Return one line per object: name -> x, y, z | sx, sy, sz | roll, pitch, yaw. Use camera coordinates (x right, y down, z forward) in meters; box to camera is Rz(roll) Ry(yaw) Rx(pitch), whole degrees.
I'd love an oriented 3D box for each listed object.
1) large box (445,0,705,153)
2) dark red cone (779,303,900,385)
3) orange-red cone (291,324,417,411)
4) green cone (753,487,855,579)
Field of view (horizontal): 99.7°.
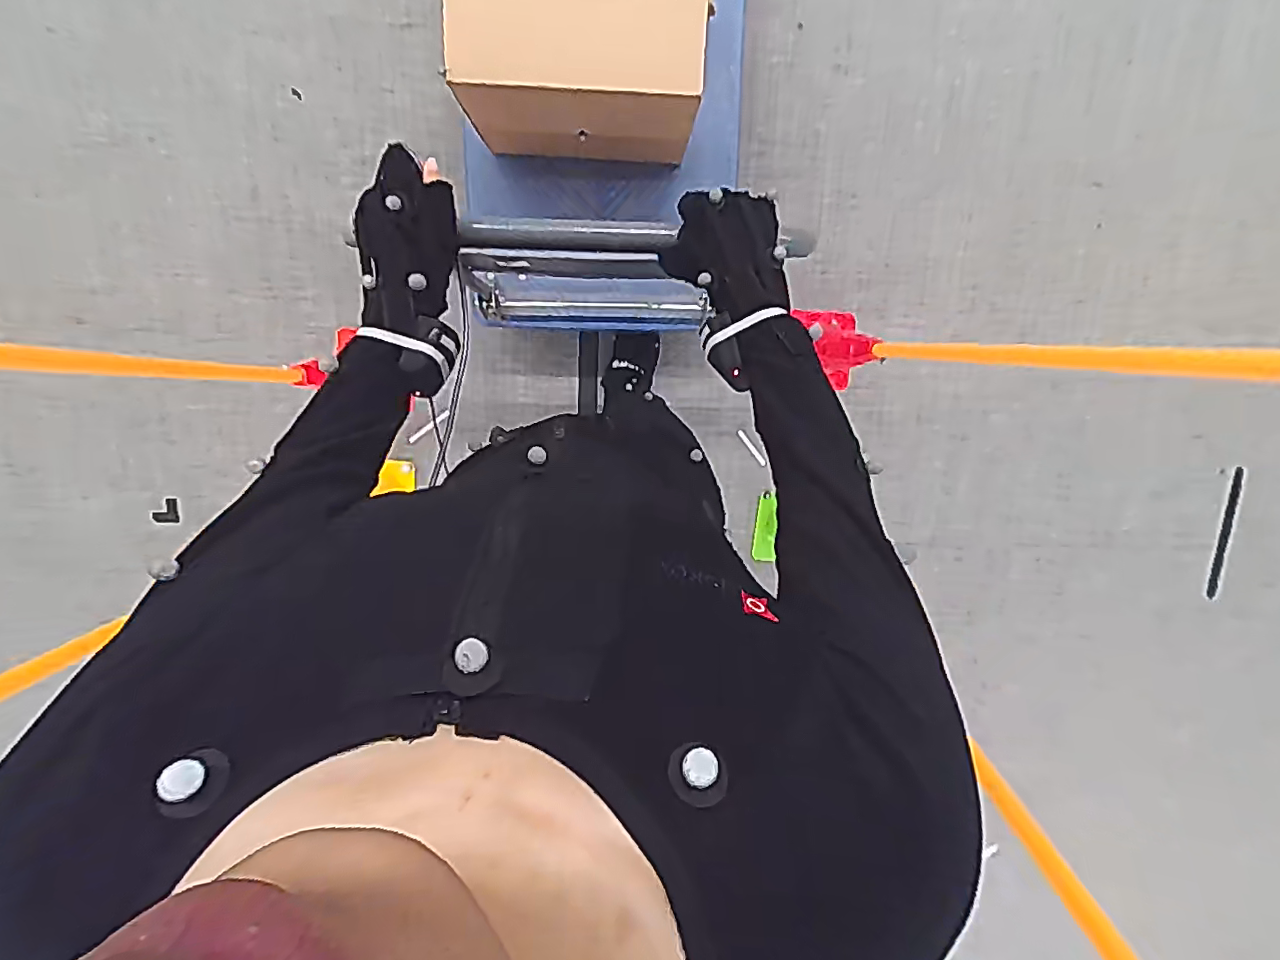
large box -> -0.099, -0.805, 0.960 | 0.408, 0.320, 0.320 | 2, 103, -2
dark red cone -> 0.466, -0.309, 1.219 | 0.201, 0.394, 0.202 | 1, 103, -4
orange-red cone -> -0.667, -0.252, 1.215 | 0.198, 0.360, 0.199 | 8, 101, -5
green cone -> 0.431, 0.160, 1.339 | 0.202, 0.368, 0.200 | 5, 102, -4
